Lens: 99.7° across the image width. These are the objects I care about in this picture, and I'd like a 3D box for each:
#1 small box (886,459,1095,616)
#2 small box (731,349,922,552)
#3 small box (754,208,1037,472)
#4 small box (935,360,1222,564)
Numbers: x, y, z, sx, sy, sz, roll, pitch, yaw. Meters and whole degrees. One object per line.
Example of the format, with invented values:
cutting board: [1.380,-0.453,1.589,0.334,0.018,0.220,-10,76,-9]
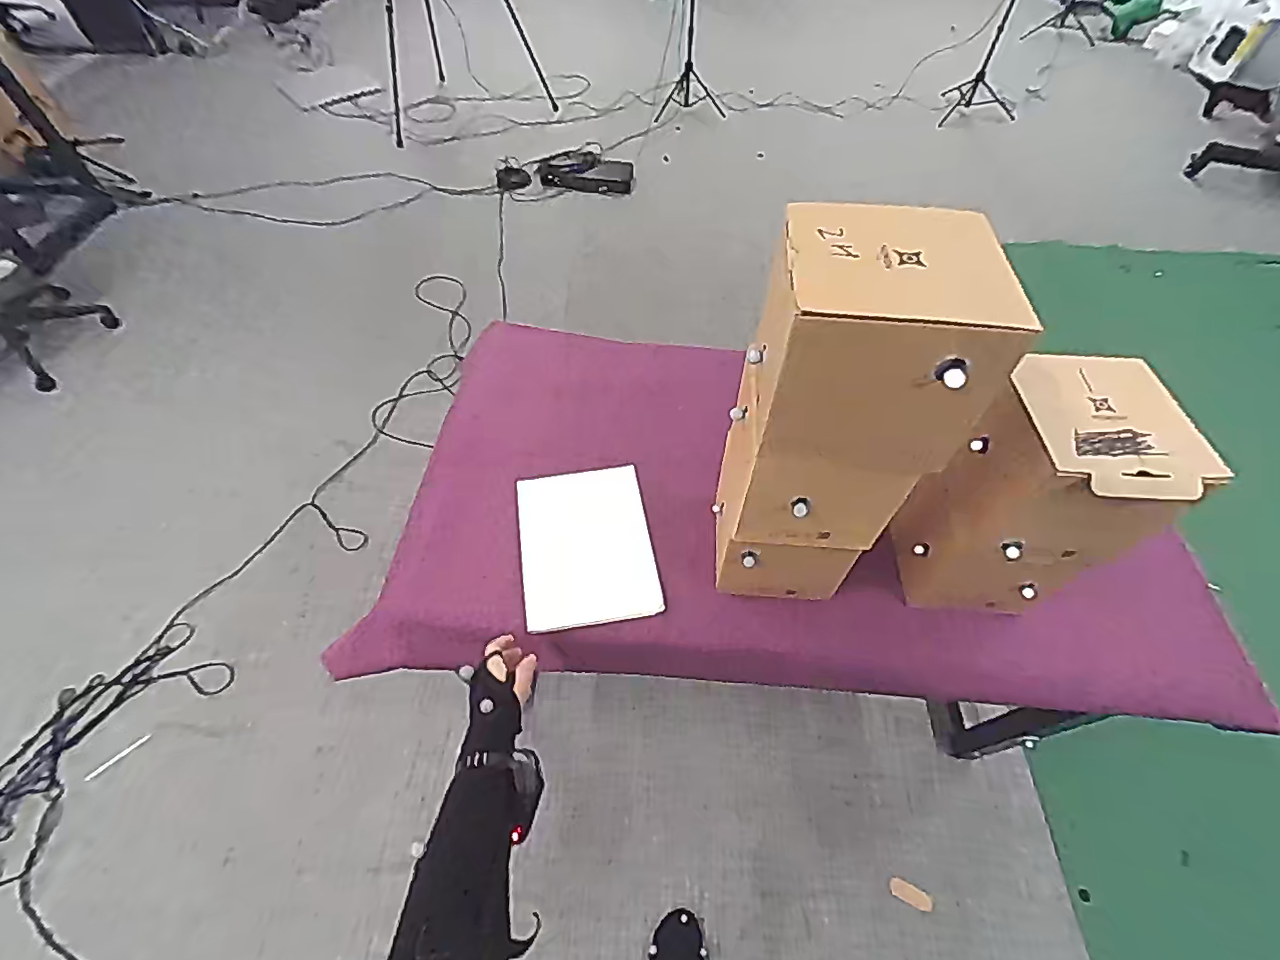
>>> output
small box: [0.471,0.077,0.761,0.168,0.176,0.179,5,53,2]
small box: [0.201,-0.031,0.637,0.168,0.176,0.179,4,53,3]
small box: [0.208,-0.123,0.501,0.179,0.176,0.168,5,53,5]
small box: [0.476,-0.017,0.627,0.168,0.176,0.179,3,53,1]
